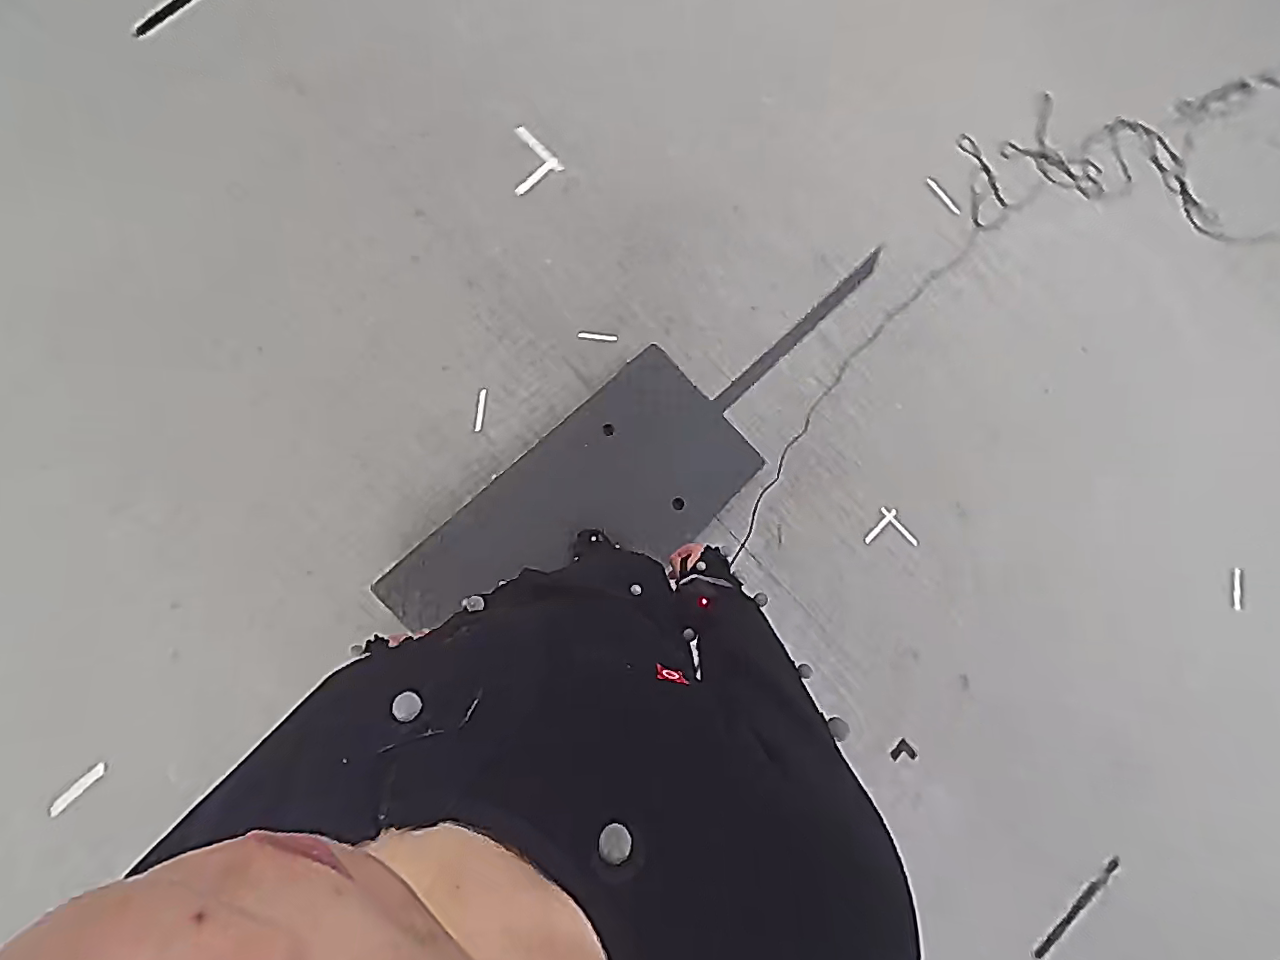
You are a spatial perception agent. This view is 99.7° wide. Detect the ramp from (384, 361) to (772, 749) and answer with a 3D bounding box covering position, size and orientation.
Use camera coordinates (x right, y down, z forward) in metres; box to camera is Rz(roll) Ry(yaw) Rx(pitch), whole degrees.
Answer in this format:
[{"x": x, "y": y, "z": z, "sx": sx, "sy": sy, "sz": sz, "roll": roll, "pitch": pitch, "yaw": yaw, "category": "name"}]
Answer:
[{"x": -0.110, "y": 0.141, "z": 1.441, "sx": 0.509, "sy": 0.206, "sz": 0.991, "roll": 44, "pitch": 81, "yaw": 0, "category": "ramp"}]
